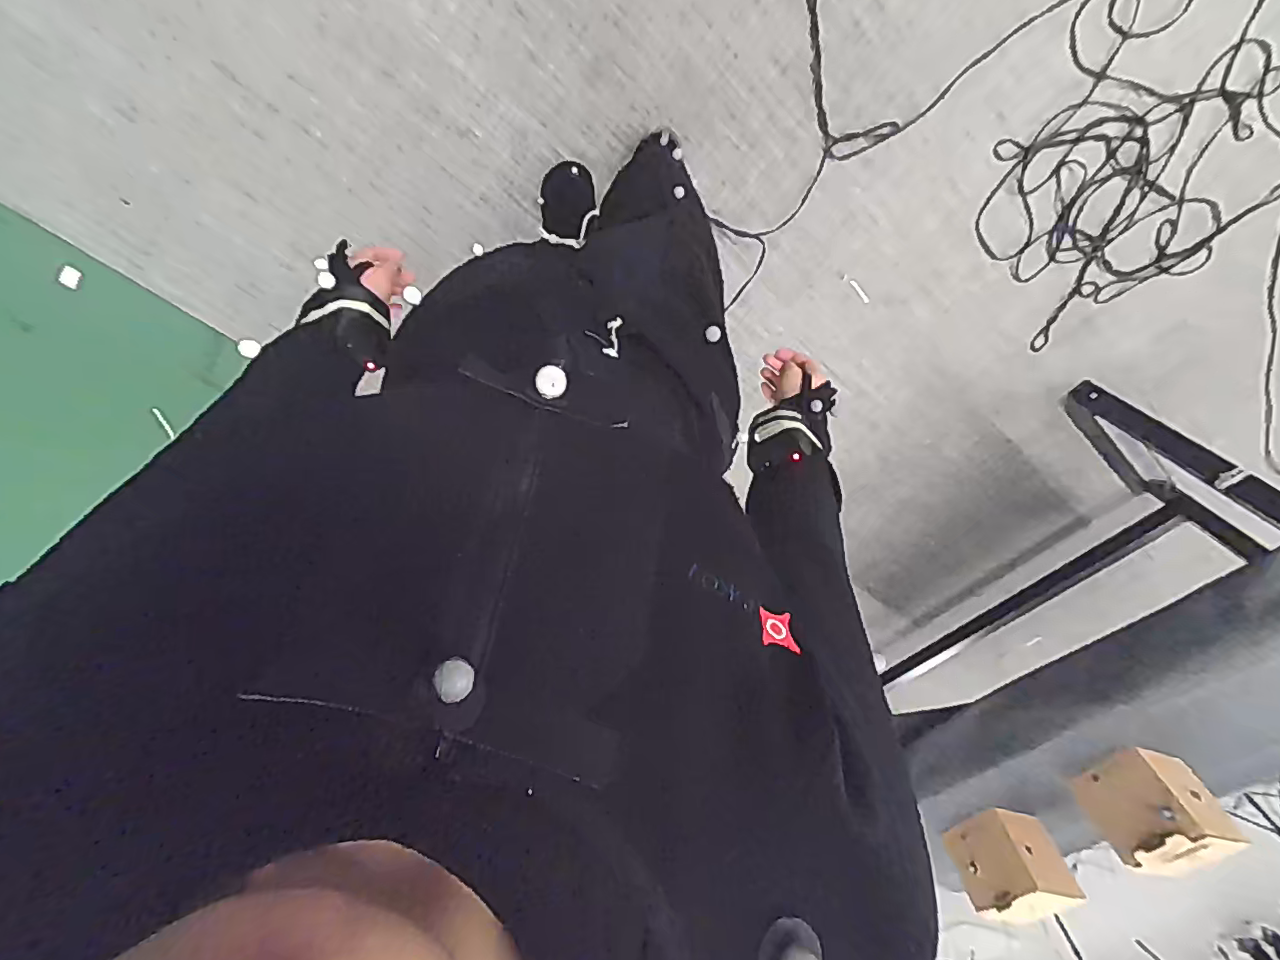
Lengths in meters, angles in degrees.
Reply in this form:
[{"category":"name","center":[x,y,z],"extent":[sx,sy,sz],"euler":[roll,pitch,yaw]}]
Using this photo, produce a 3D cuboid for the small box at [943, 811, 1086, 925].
[{"category":"small box","center":[0.850,0.891,1.247],"extent":[0.179,0.176,0.168],"euler":[22,122,-20]}]
